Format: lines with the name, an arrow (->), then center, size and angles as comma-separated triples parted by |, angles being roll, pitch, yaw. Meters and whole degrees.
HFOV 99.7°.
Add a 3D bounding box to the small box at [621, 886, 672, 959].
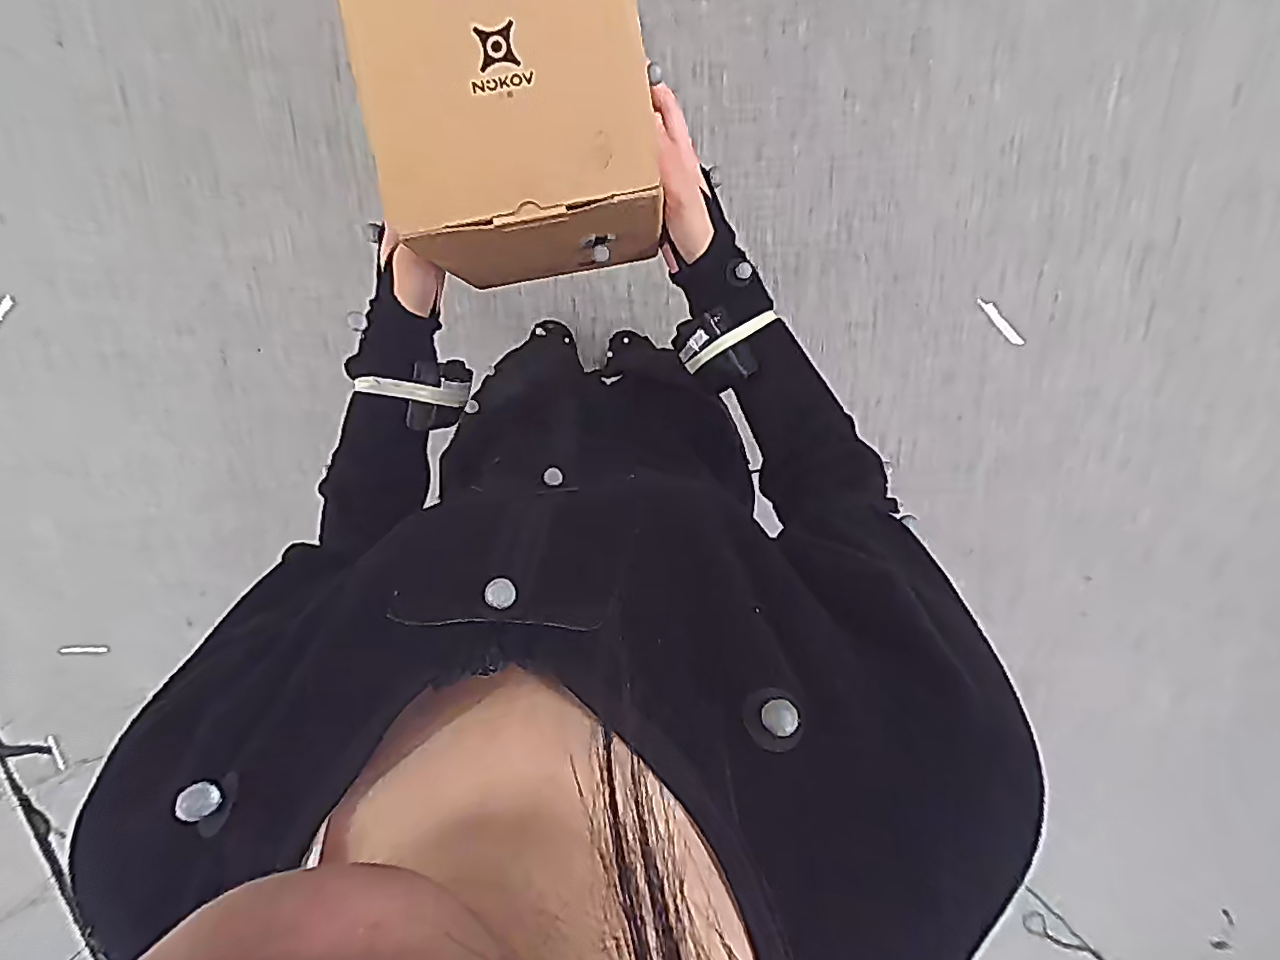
small box -> 0.024, 1.532, 1.840 | 0.168, 0.176, 0.179 | -1, 106, 2
